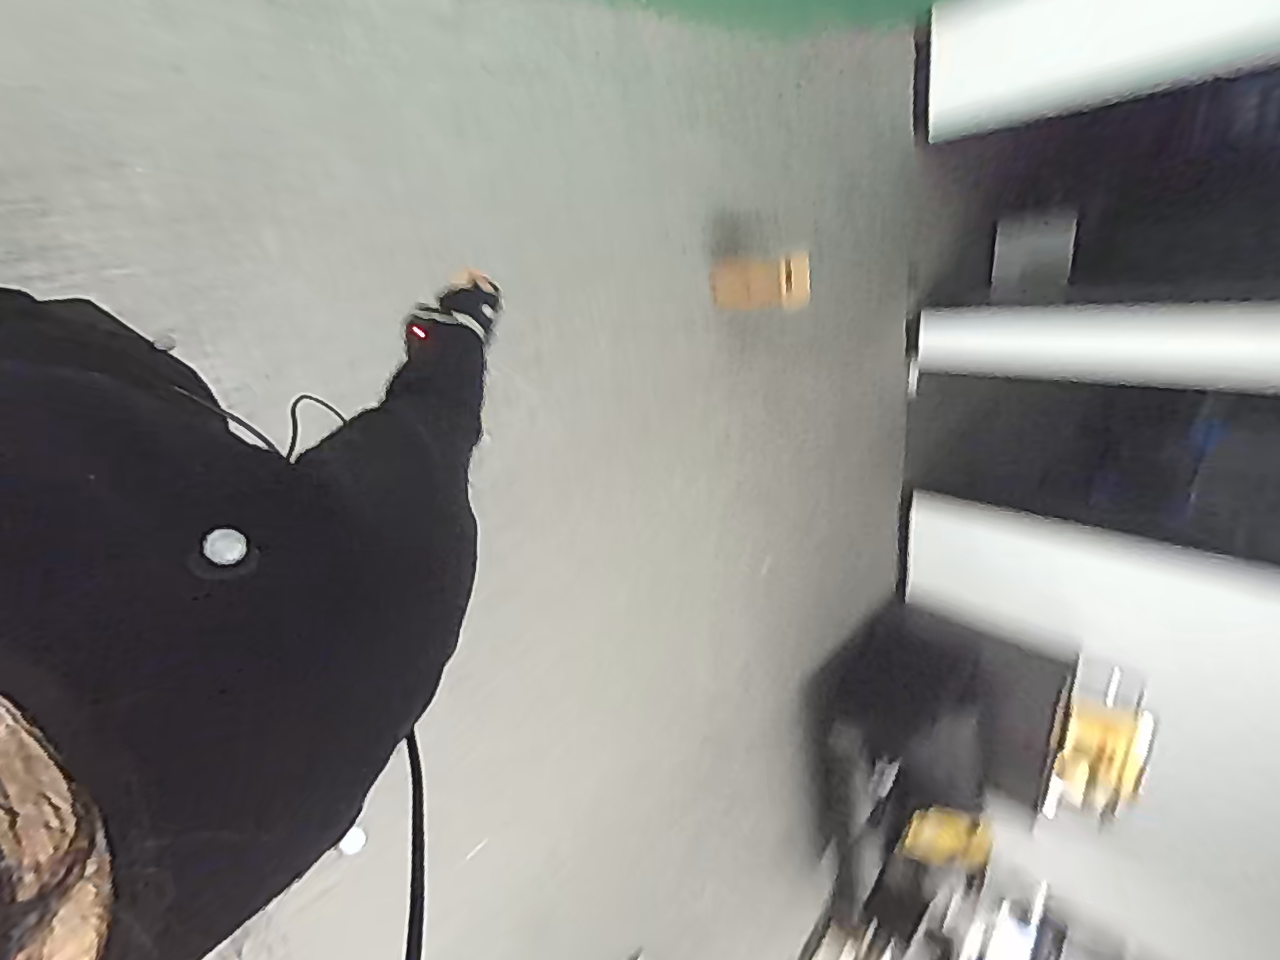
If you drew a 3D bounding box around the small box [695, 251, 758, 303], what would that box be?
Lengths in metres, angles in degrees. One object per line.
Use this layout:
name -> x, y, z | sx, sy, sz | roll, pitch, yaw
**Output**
small box -> 0.338, -0.792, 2.104 | 0.179, 0.176, 0.168 | -27, 120, -34
